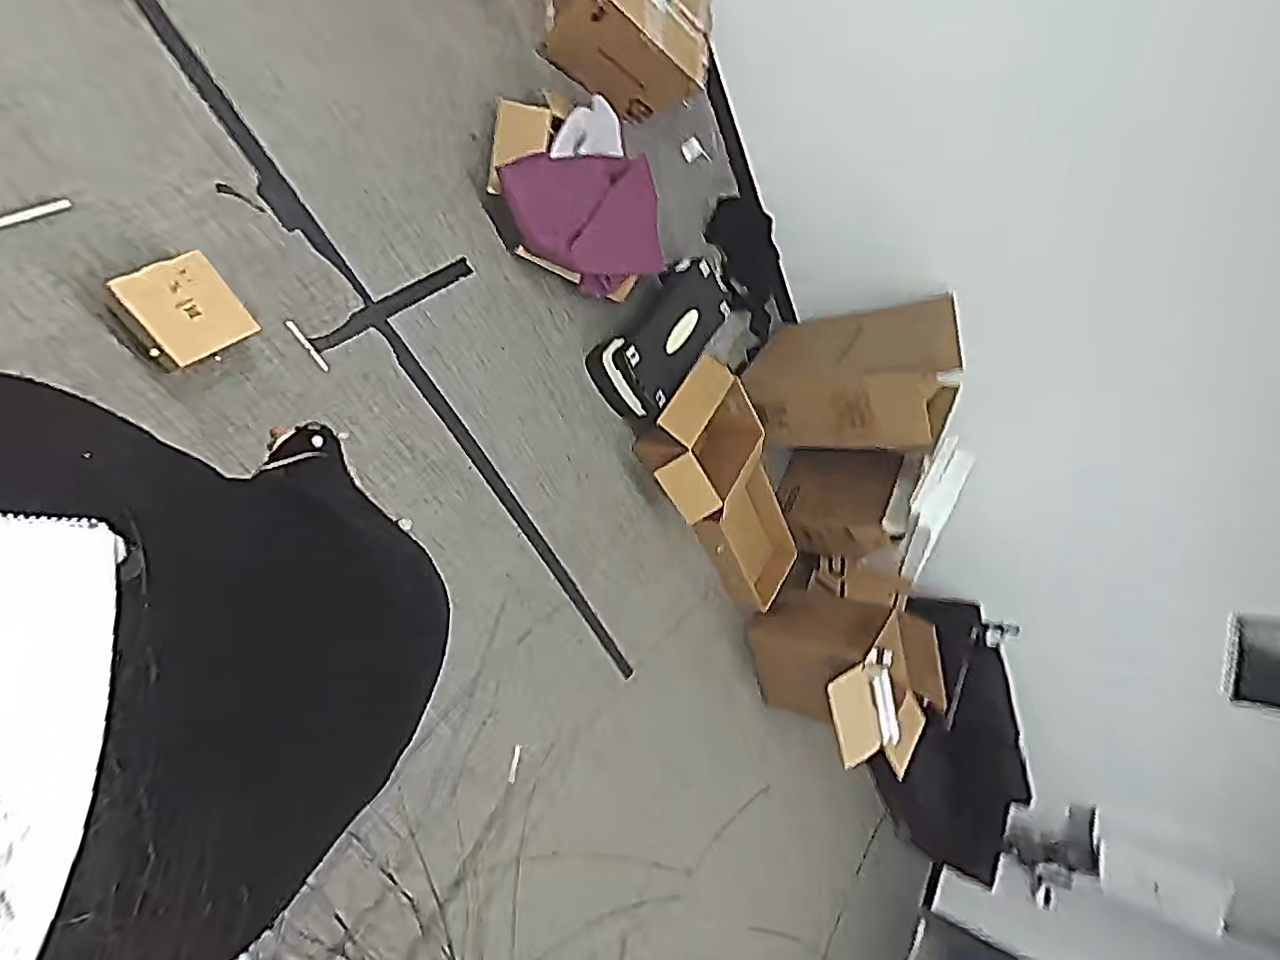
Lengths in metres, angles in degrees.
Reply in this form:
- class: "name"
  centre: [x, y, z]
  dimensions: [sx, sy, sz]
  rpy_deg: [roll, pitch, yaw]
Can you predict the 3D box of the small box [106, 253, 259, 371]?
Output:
- class: "small box"
  centre: [-0.939, -0.336, 1.114]
  dimensions: [0.168, 0.176, 0.179]
  rpy_deg: [-47, 122, -34]
